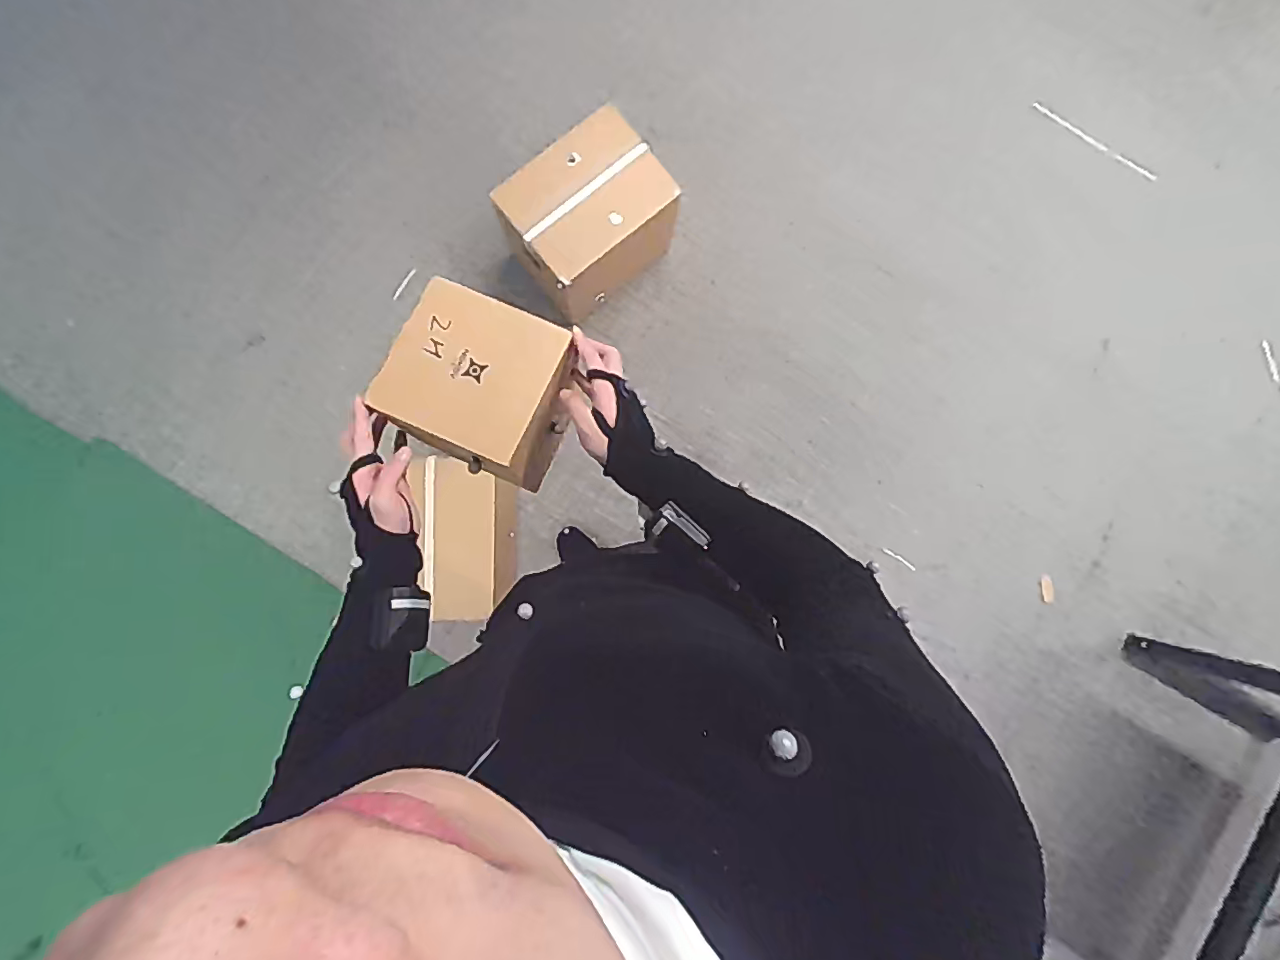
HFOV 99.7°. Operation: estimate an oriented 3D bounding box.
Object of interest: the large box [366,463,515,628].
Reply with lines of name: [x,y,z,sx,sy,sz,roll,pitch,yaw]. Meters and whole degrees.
large box: [-0.522,0.164,1.474,0.320,0.320,0.408,-1,87,-2]
